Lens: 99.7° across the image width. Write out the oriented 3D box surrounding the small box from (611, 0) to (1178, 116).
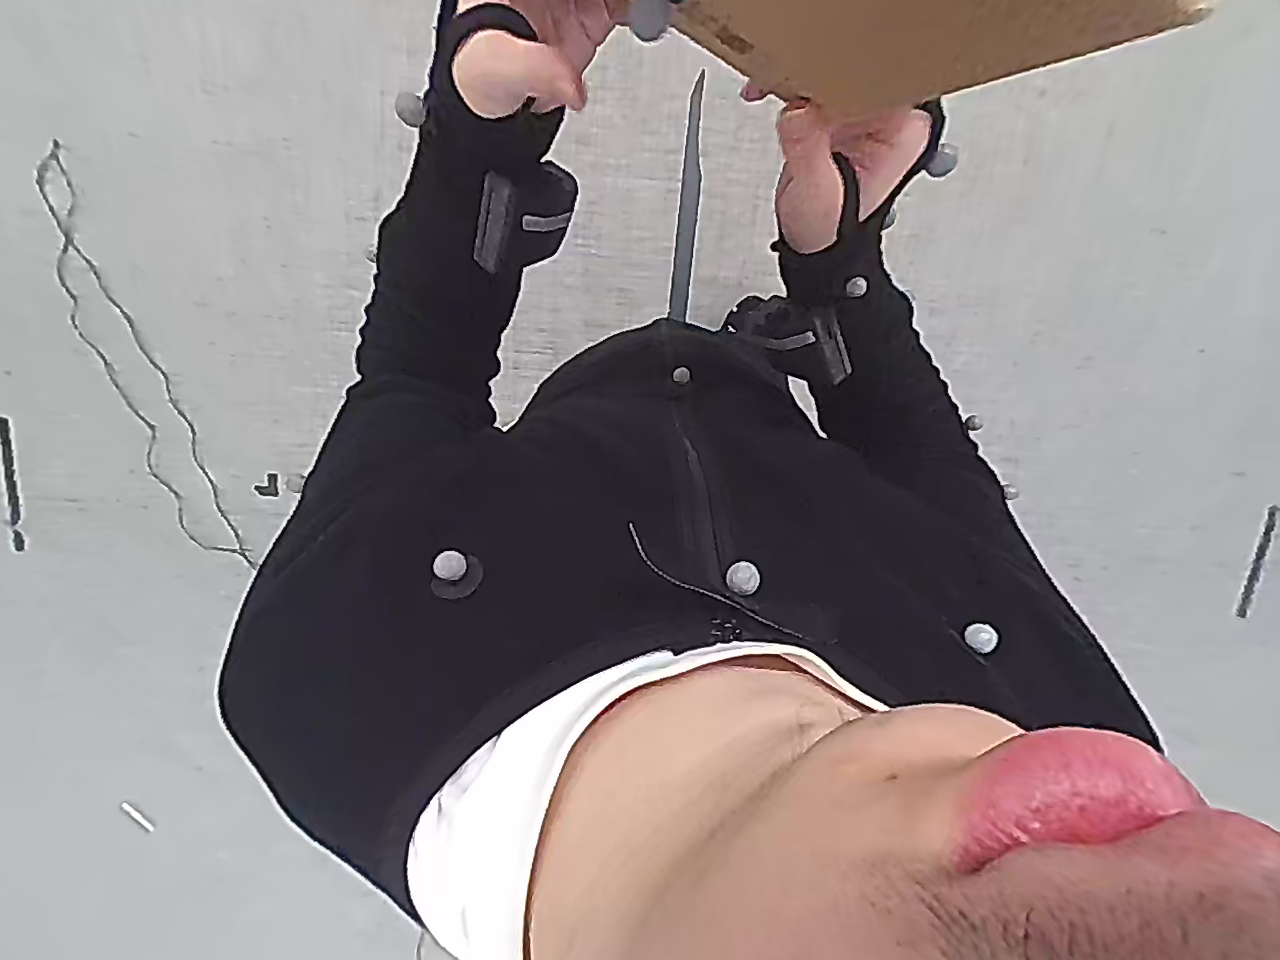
[{"bbox_3d":[0.063,-0.232,0.136,0.168,0.176,0.179,18,112,-17],"label":"small box"}]
